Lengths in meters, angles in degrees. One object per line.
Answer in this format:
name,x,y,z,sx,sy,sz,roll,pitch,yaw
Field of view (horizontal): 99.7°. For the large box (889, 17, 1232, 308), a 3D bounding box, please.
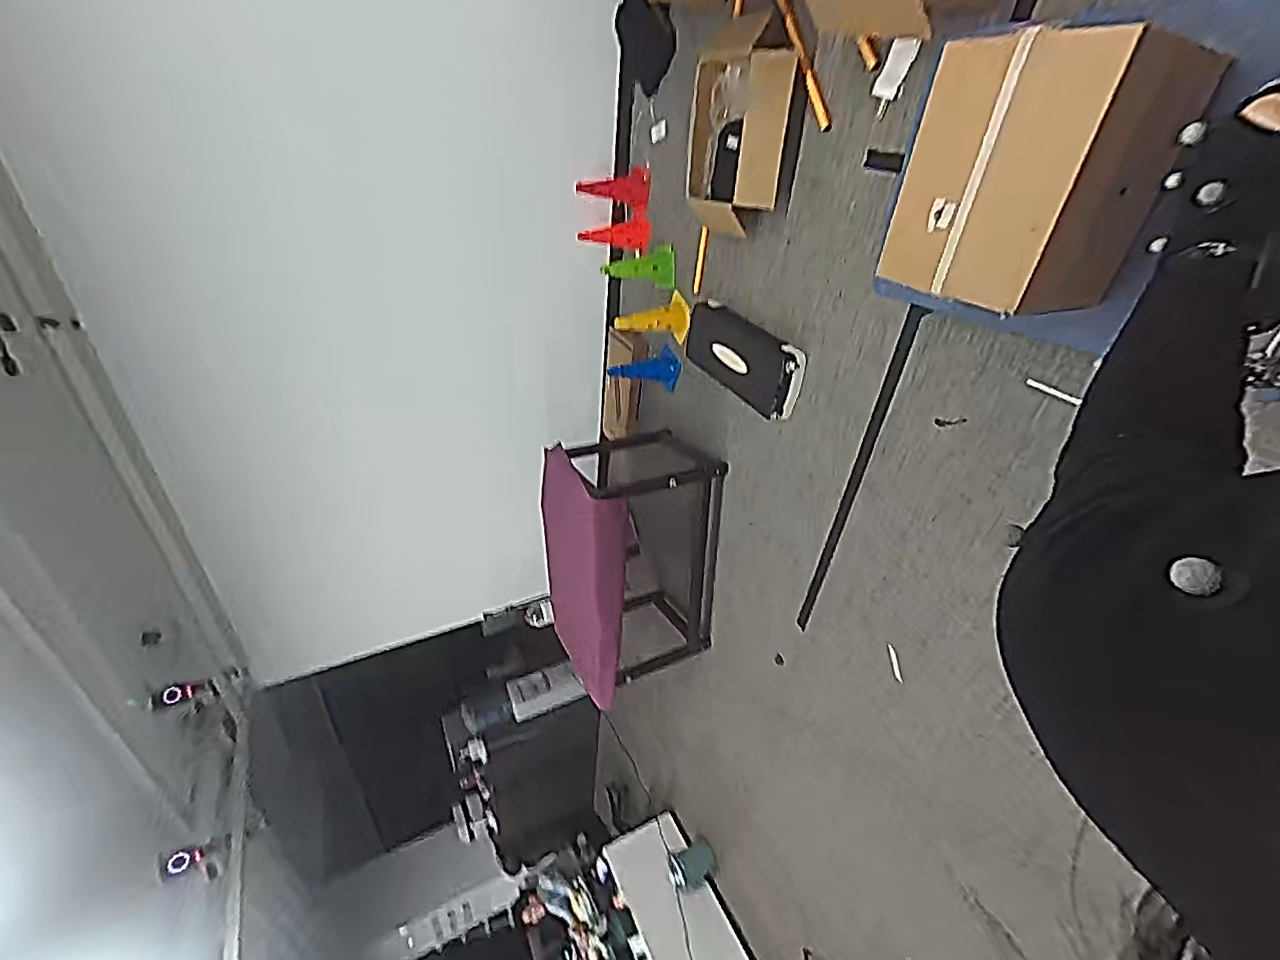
large box,0.750,-0.575,1.019,0.320,0.320,0.408,48,142,47
